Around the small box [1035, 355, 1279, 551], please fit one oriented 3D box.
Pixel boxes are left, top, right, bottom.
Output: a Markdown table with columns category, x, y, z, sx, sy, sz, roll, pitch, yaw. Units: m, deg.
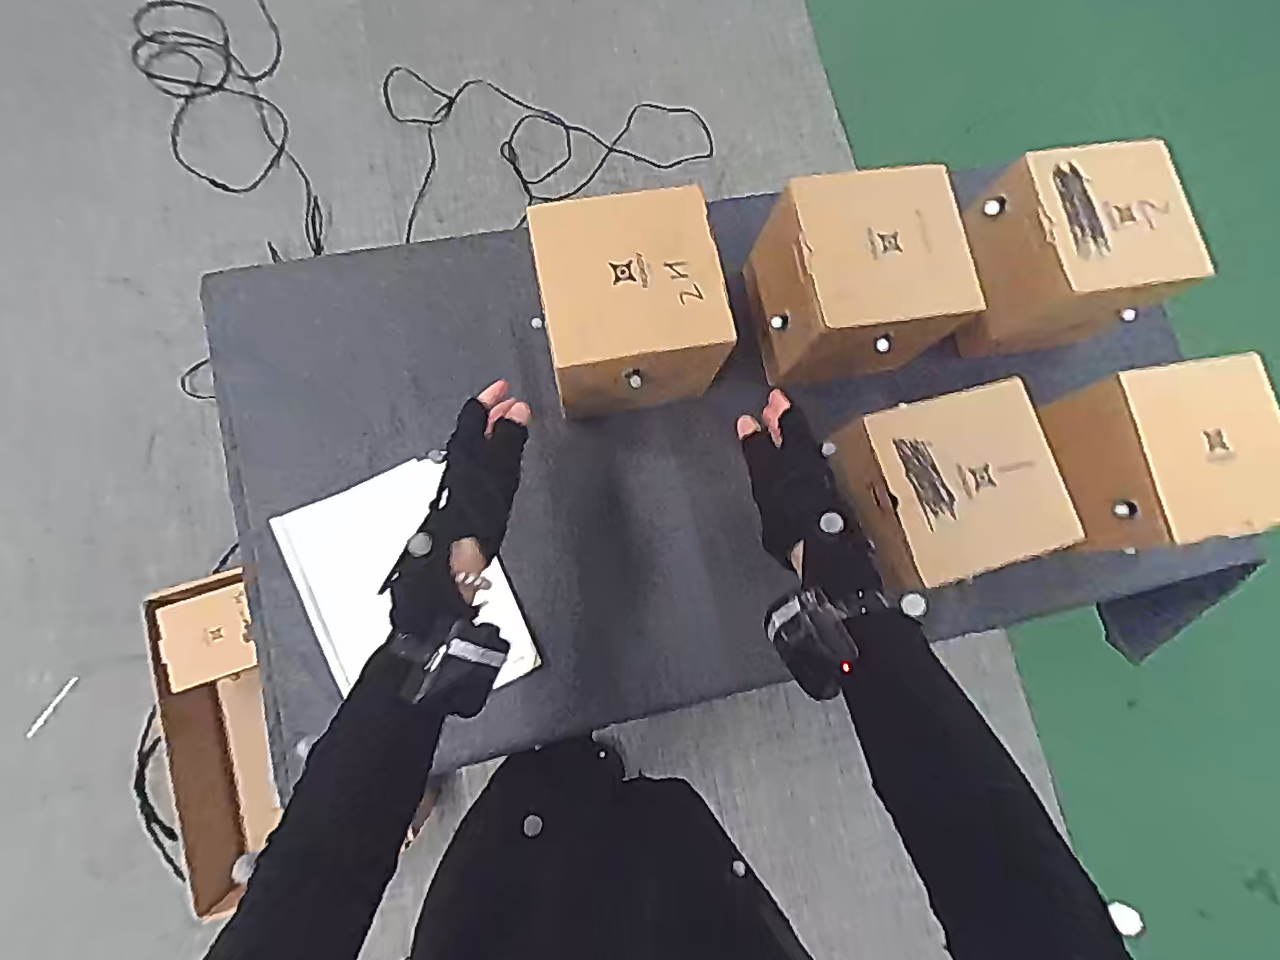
| category | x | y | z | sx | sy | sz | roll | pitch | yaw |
| --- | --- | --- | --- | --- | --- | --- | --- | --- | --- |
| small box | 0.559 | -0.021 | 0.613 | 0.168 | 0.176 | 0.179 | -8 | 80 | -7 |

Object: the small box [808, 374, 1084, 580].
| category | x | y | z | sx | sy | sz | roll | pitch | yaw |
| --- | --- | --- | --- | --- | --- | --- | --- | --- | --- |
| small box | 0.301 | 0.008 | 0.579 | 0.179 | 0.176 | 0.168 | -14 | 81 | -9 |
